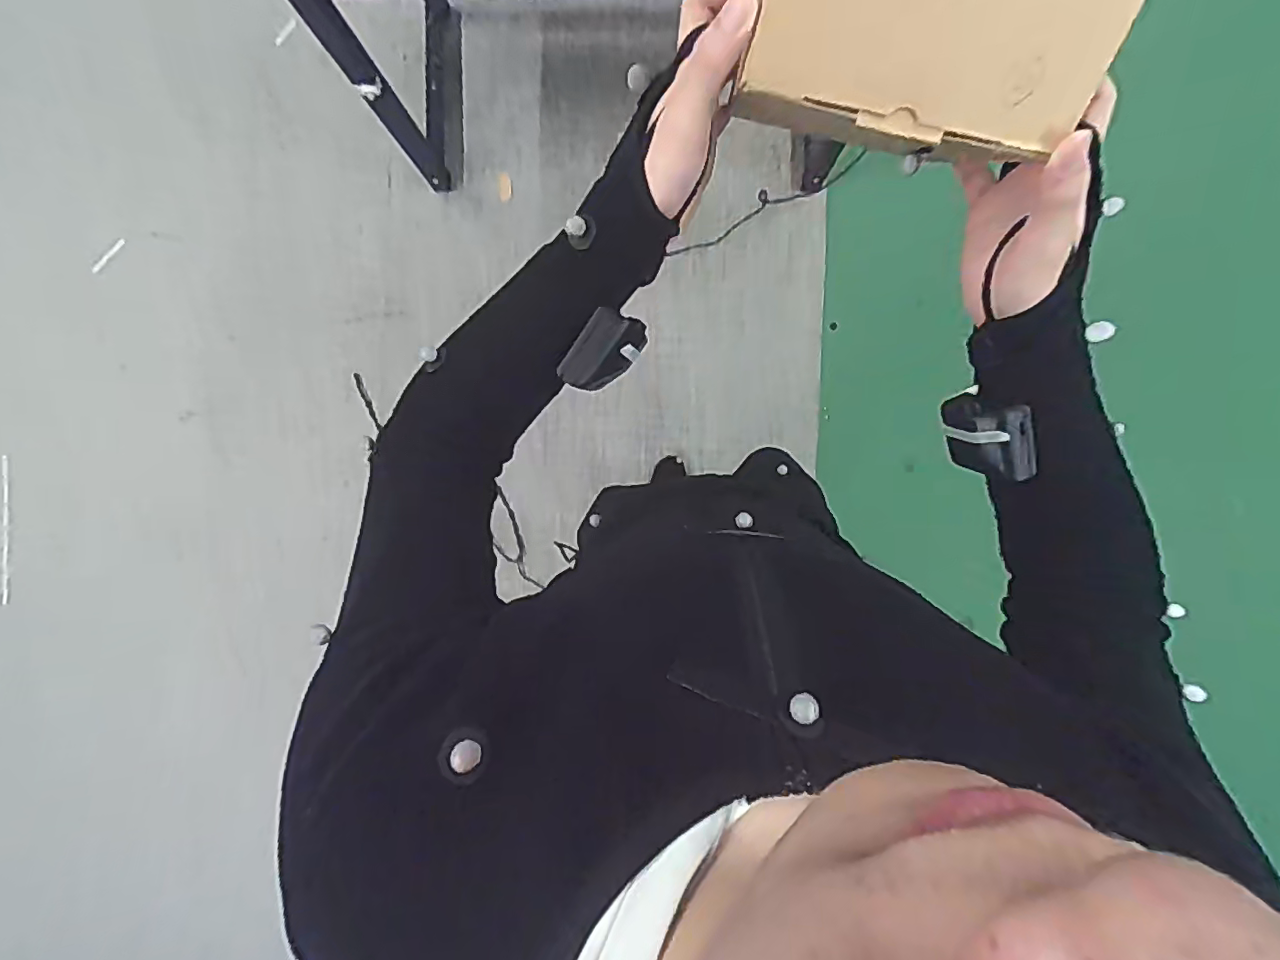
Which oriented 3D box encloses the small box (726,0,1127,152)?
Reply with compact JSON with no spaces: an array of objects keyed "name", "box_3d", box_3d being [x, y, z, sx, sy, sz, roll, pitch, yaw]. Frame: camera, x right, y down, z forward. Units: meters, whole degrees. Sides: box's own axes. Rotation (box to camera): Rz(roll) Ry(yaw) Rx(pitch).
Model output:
[{"name":"small box","box_3d":[0.149,-0.293,0.289,0.168,0.176,0.179,13,122,-1]}]
